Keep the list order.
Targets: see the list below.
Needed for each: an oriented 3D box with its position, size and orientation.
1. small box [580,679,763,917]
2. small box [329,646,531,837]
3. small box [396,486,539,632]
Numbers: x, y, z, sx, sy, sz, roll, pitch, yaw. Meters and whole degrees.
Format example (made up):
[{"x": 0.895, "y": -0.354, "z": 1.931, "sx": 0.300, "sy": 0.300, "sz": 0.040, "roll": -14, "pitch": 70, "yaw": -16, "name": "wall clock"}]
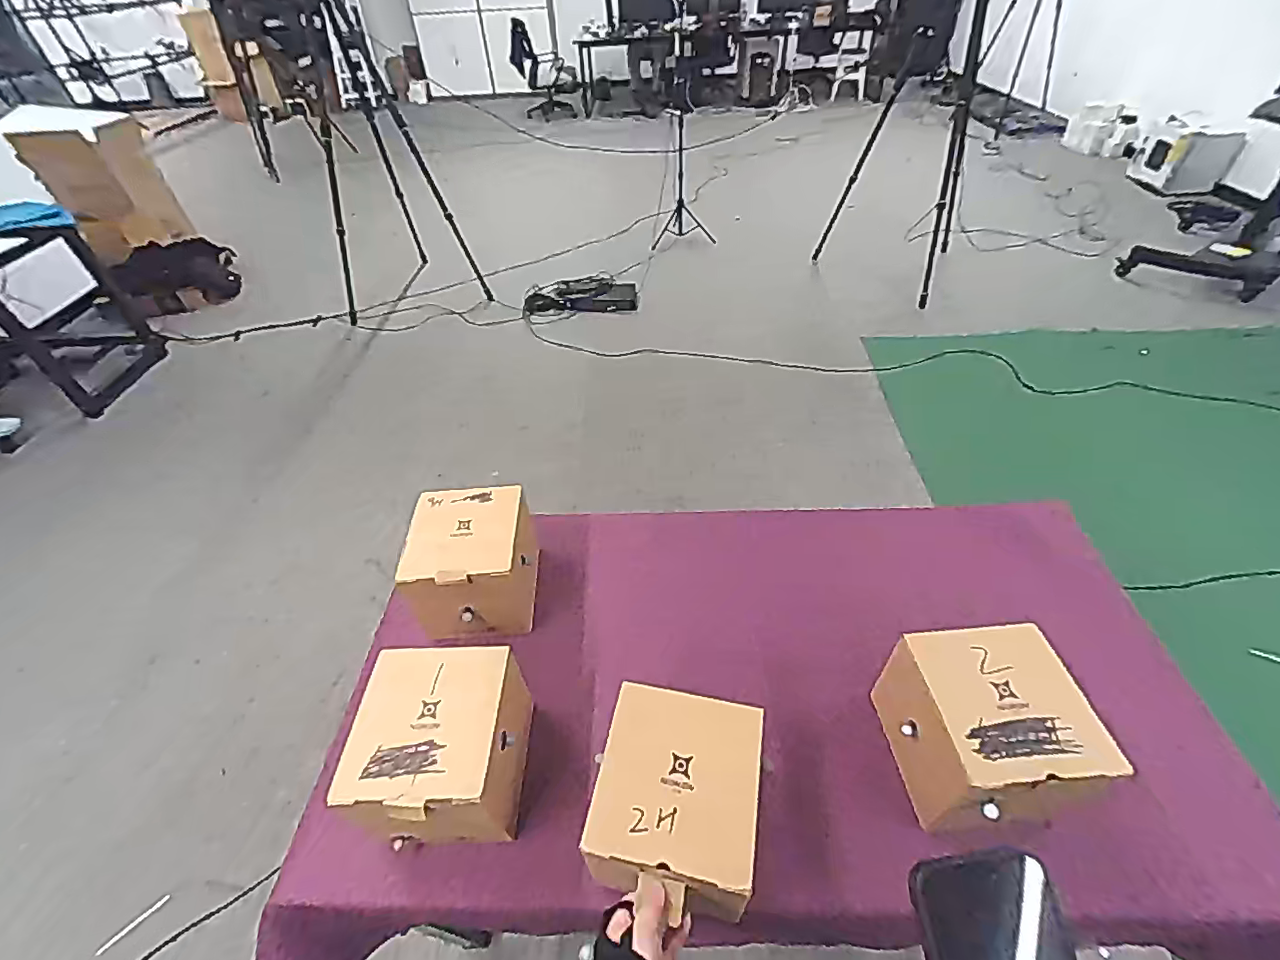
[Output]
[{"x": 0.042, "y": 0.362, "z": 0.619, "sx": 0.168, "sy": 0.176, "sz": 0.179, "roll": 7, "pitch": 46, "yaw": 12, "name": "small box"}, {"x": -0.240, "y": 0.329, "z": 0.675, "sx": 0.168, "sy": 0.176, "sz": 0.179, "roll": -2, "pitch": 43, "yaw": 2, "name": "small box"}, {"x": -0.263, "y": 0.133, "z": 0.873, "sx": 0.168, "sy": 0.176, "sz": 0.179, "roll": -4, "pitch": 46, "yaw": -1, "name": "small box"}]
